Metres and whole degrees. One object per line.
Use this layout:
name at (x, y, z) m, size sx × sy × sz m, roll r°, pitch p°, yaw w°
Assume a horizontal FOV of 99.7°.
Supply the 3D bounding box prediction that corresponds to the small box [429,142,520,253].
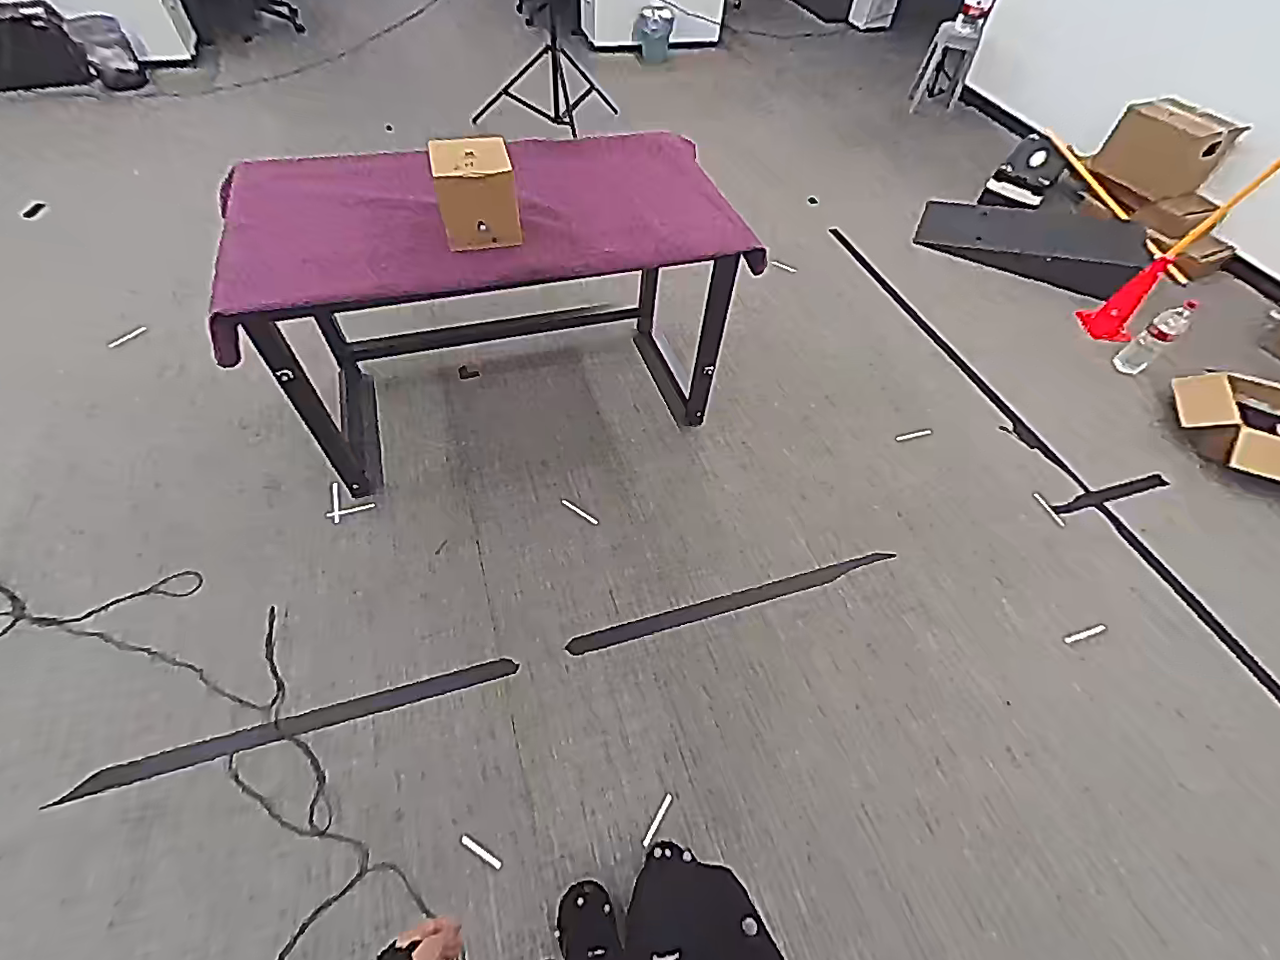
small box at (-0.378, -0.647, 1.241) m, size 0.168 × 0.176 × 0.179 m, roll -12°, pitch 55°, yaw -12°
